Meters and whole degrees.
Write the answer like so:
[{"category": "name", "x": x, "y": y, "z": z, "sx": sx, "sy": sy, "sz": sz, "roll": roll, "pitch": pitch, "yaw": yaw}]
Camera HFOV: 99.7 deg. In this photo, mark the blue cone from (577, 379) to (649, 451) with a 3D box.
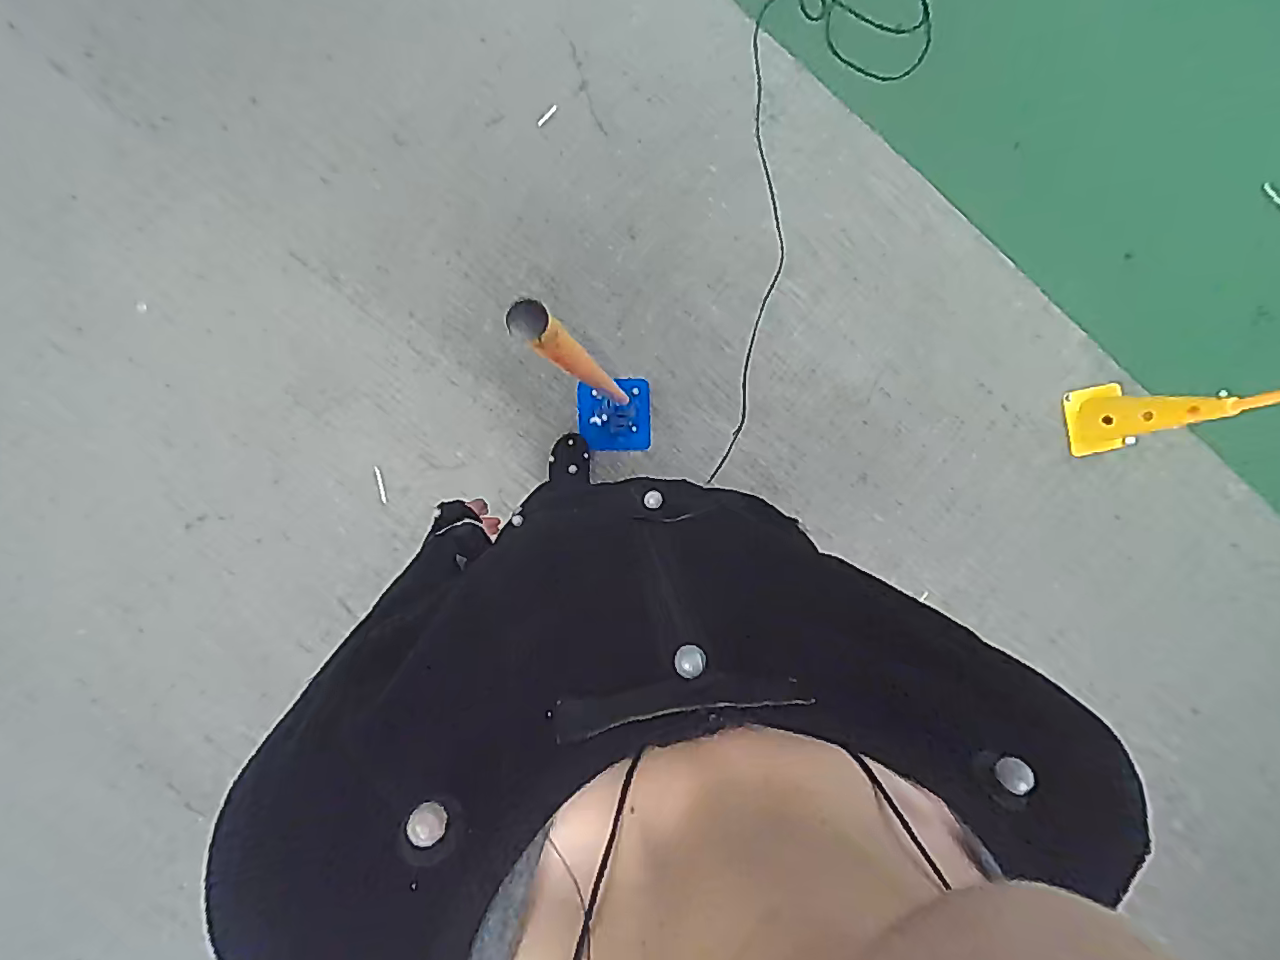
[{"category": "blue cone", "x": -0.056, "y": -0.172, "z": 1.303, "sx": 0.193, "sy": 0.380, "sz": 0.192, "roll": -2, "pitch": 92, "yaw": -5}]
